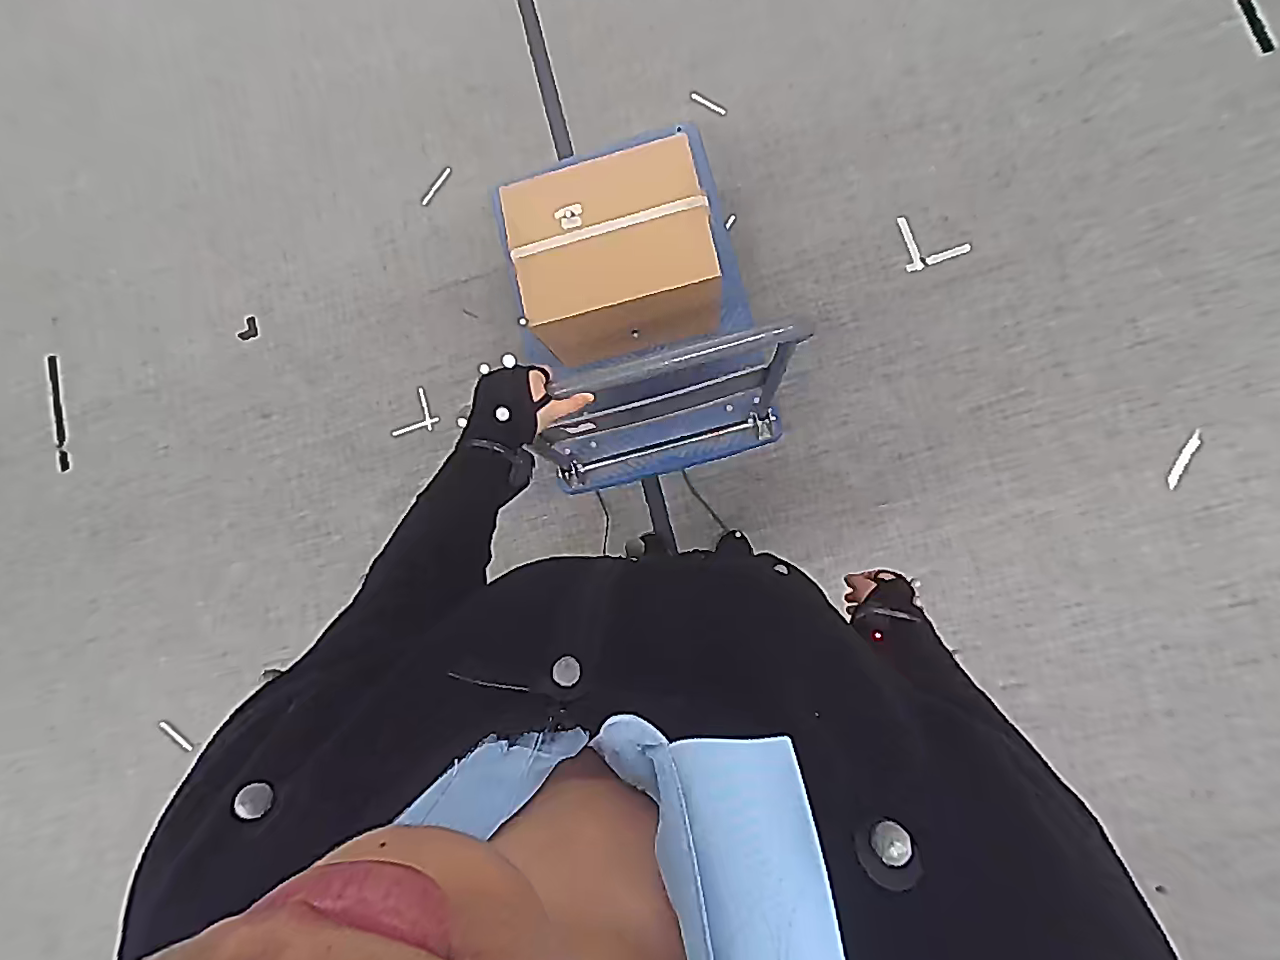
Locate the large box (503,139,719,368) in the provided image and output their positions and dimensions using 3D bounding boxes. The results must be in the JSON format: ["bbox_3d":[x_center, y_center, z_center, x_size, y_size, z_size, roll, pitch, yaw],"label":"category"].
[{"bbox_3d":[-0.047,-0.491,1.254,0.408,0.320,0.320,-13,83,7],"label":"large box"}]
